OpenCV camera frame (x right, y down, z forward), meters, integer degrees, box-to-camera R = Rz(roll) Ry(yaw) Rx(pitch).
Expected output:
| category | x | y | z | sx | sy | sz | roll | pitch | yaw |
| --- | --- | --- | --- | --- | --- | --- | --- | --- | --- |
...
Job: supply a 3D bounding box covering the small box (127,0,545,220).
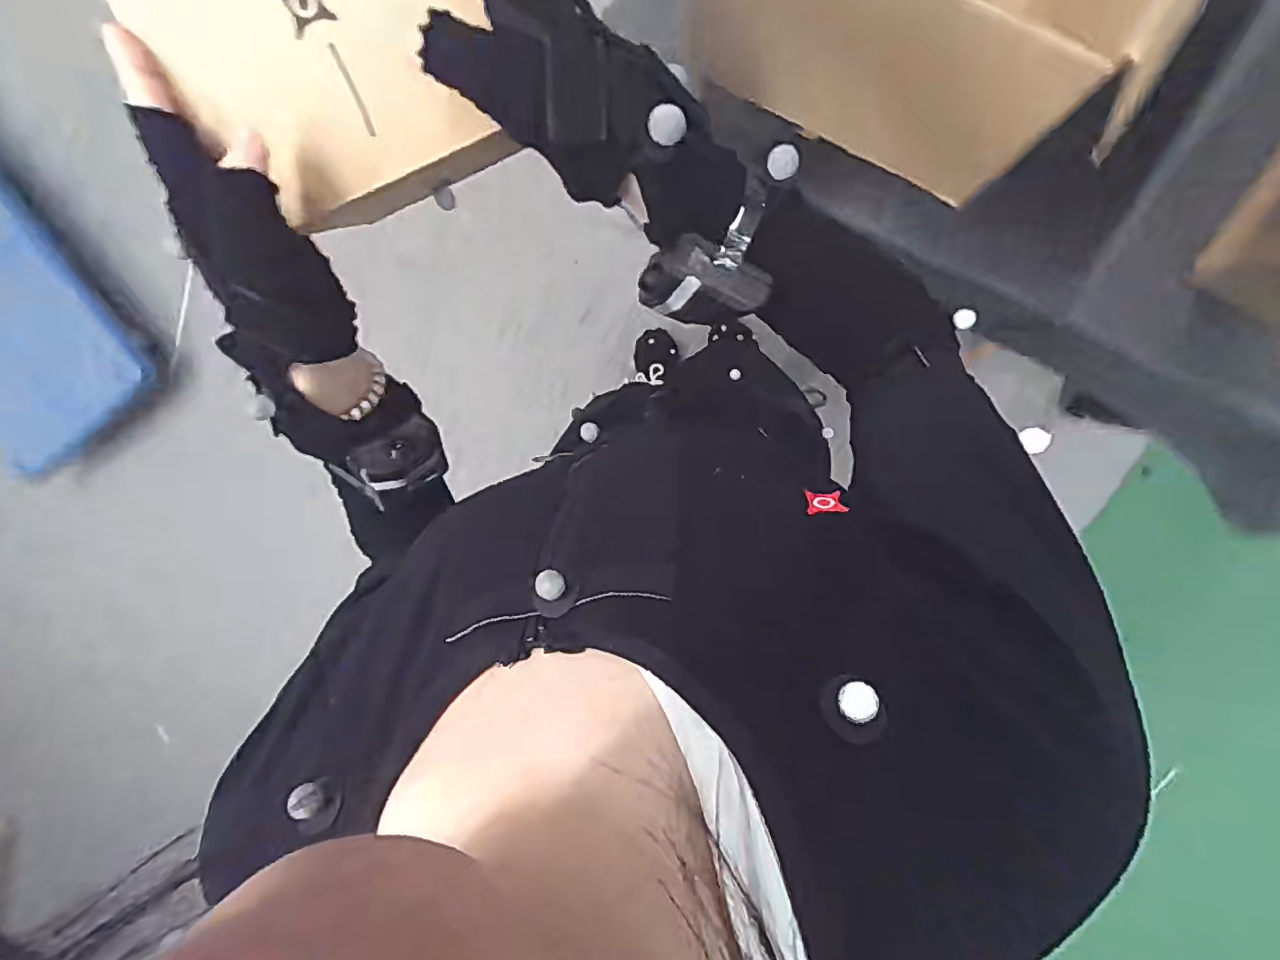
| category | x | y | z | sx | sy | sz | roll | pitch | yaw |
| --- | --- | --- | --- | --- | --- | --- | --- | --- | --- |
| small box | -0.166 | -0.276 | 0.322 | 0.168 | 0.176 | 0.179 | -21 | 120 | 3 |
